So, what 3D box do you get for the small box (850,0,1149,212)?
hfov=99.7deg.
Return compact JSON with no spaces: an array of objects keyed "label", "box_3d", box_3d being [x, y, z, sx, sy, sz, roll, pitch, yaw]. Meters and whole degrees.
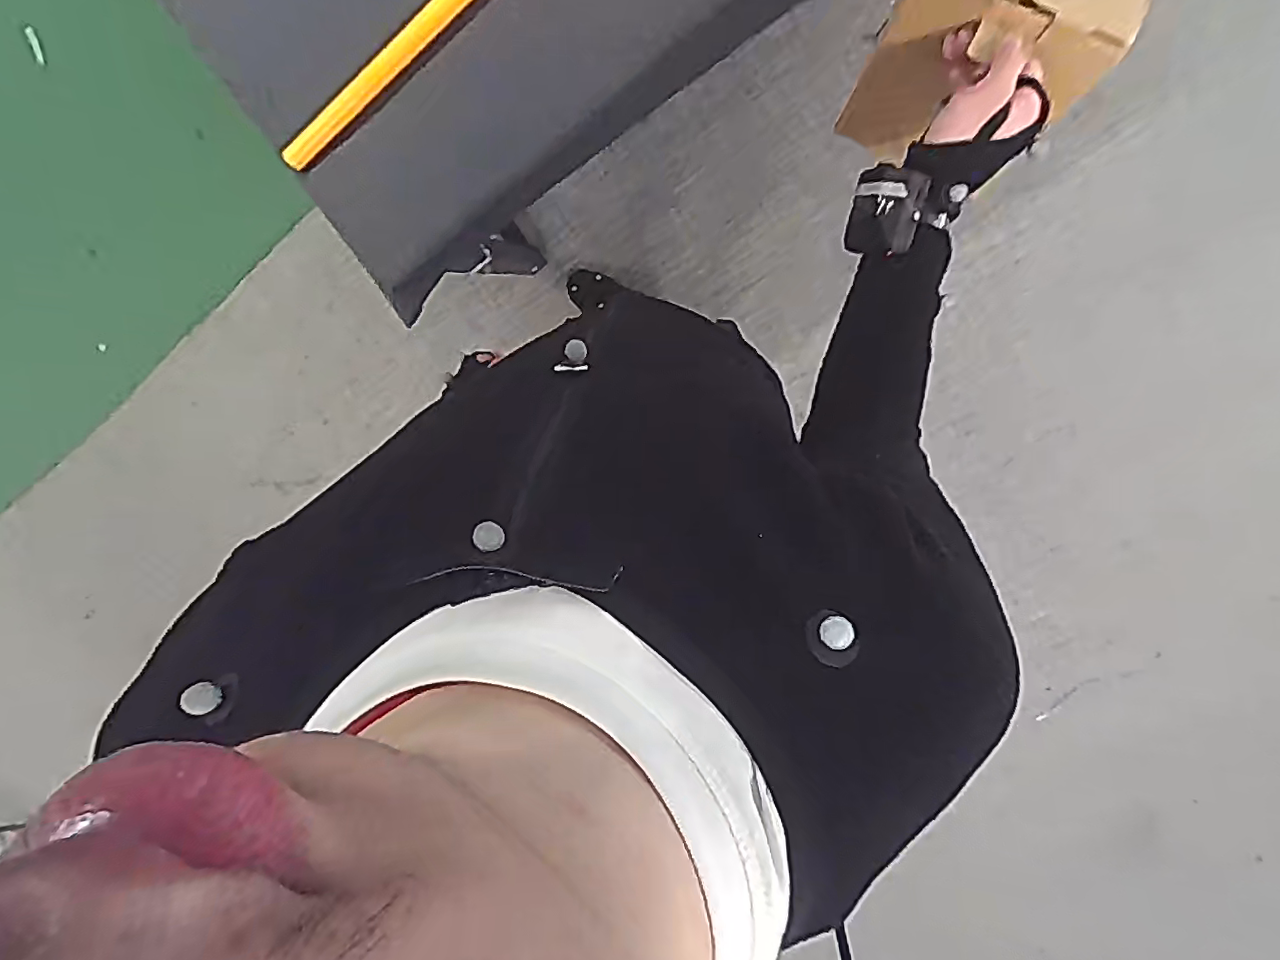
[{"label":"small box","box_3d":[0.325,-0.398,0.511,0.168,0.176,0.179,24,78,1]}]
